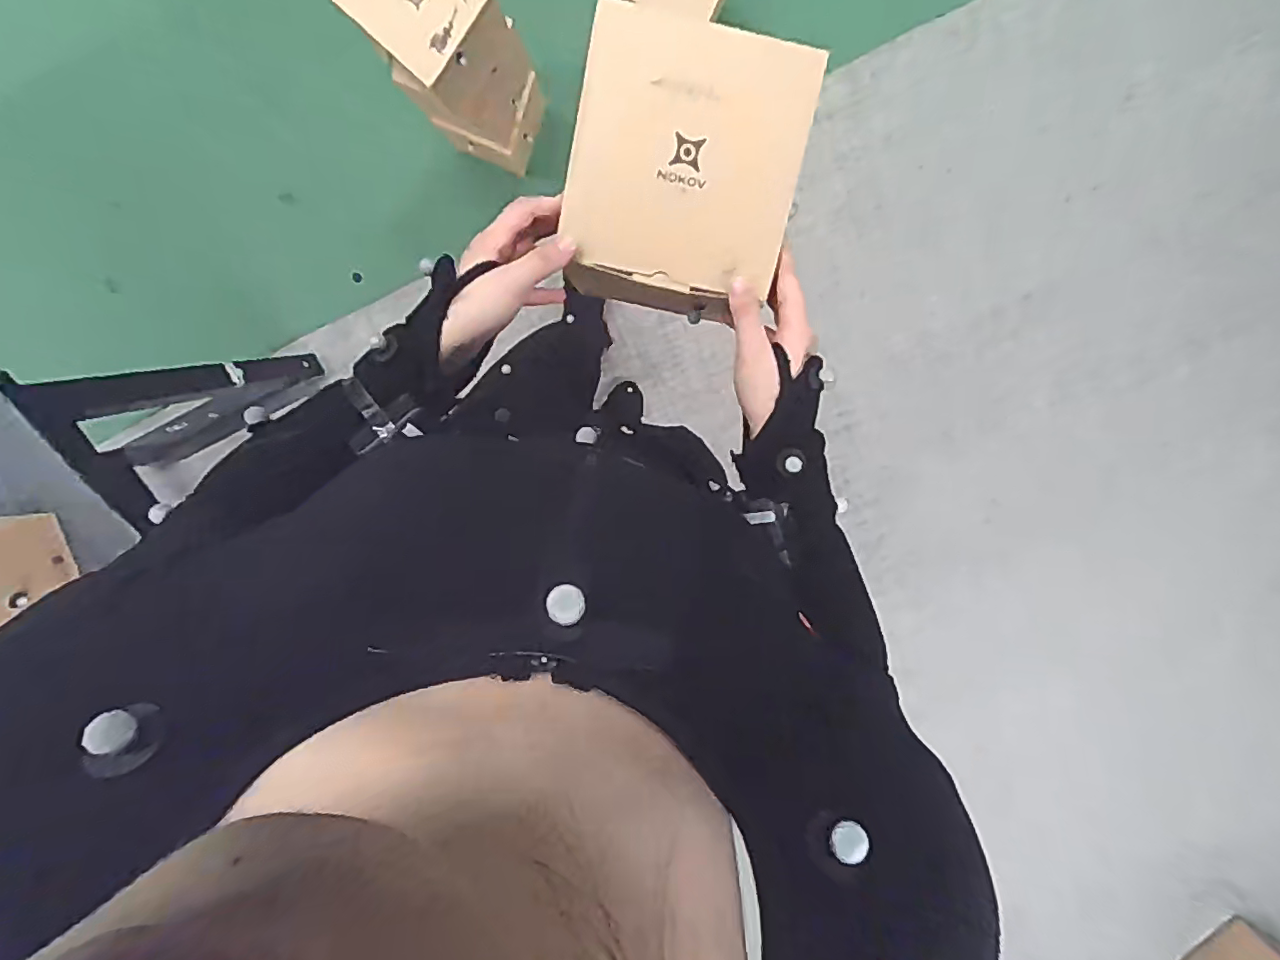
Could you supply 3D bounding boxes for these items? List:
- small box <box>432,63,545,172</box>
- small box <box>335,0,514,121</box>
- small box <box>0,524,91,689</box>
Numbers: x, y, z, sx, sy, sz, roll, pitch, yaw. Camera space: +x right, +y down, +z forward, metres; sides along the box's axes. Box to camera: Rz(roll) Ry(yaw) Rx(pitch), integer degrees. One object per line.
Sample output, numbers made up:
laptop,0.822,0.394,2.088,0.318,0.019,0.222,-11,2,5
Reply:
small box,-0.318,-0.794,1.170,0.179,0.176,0.168,20,105,-7
small box,-0.325,-0.715,0.850,0.179,0.176,0.168,39,102,-12
small box,-0.848,0.161,0.667,0.179,0.176,0.168,-4,106,2
